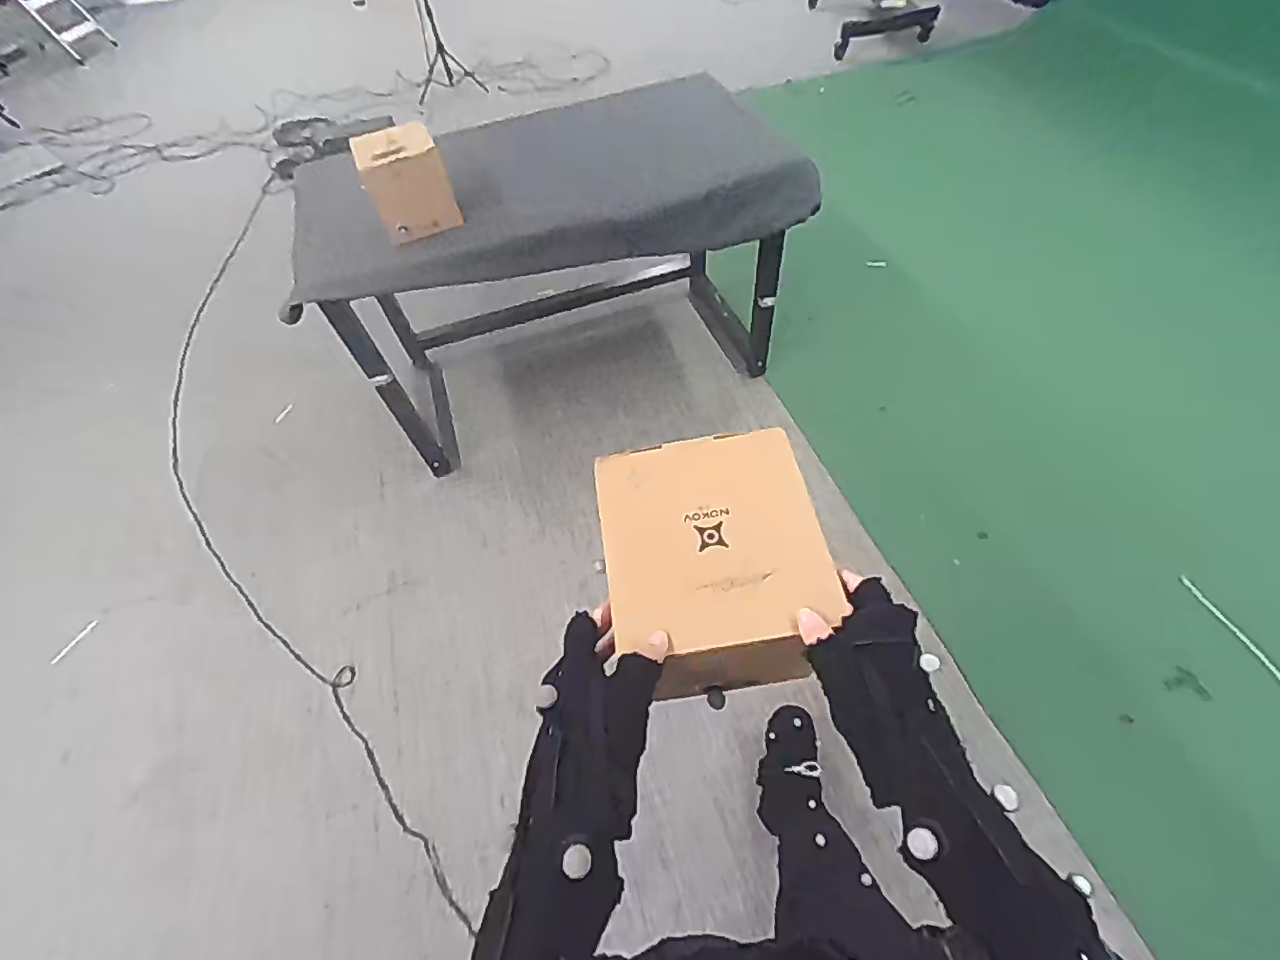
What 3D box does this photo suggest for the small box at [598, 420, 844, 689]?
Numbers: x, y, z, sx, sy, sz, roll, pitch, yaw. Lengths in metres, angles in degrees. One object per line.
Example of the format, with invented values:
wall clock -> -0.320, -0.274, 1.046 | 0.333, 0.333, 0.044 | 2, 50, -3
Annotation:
small box -> 0.059, 0.074, 0.491 | 0.168, 0.176, 0.179 | -9, 58, 0

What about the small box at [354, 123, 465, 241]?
small box -> -0.514, -0.664, 1.219 | 0.168, 0.176, 0.179 | -22, 54, -10
